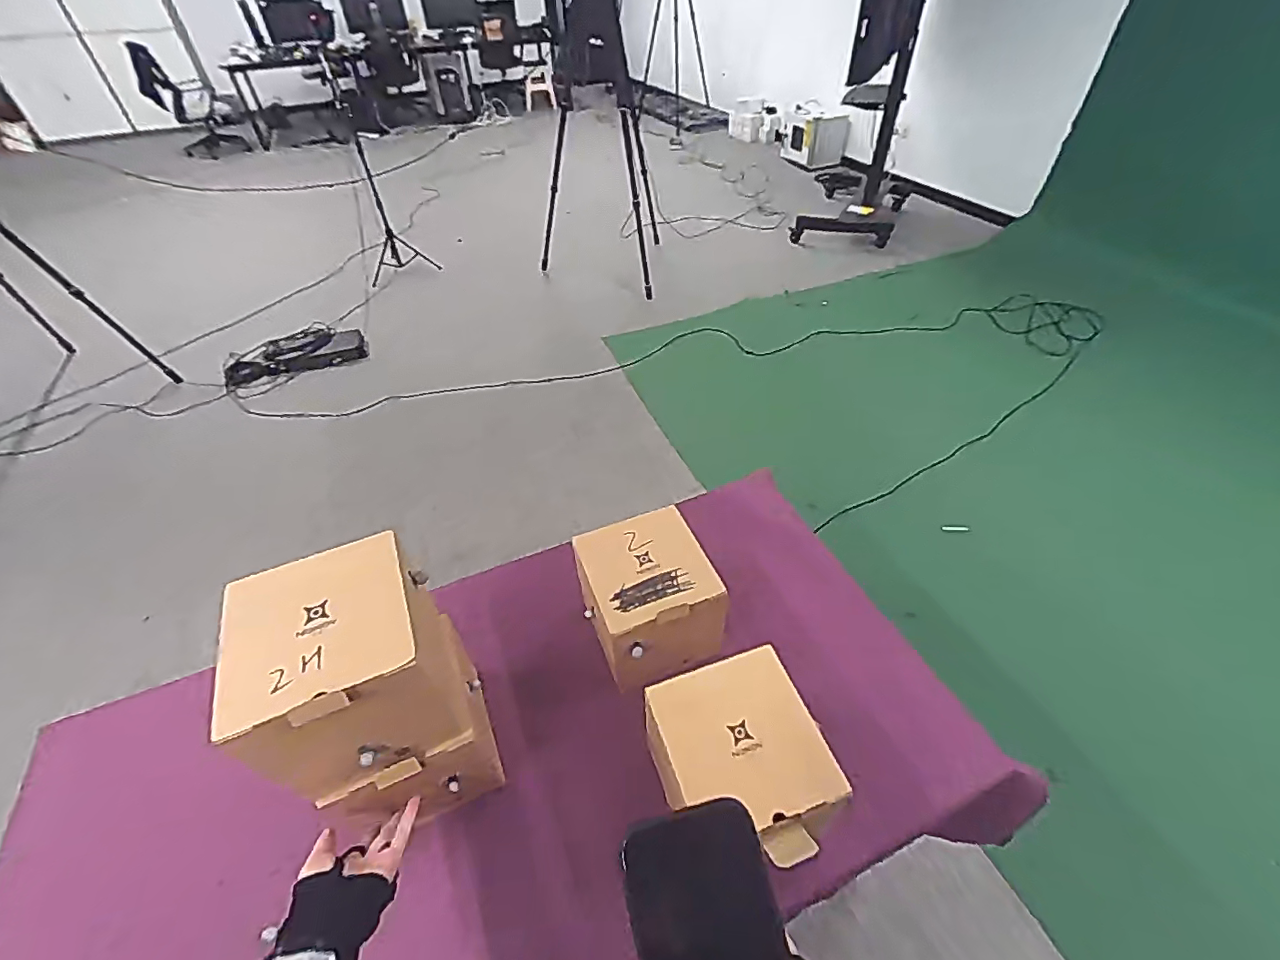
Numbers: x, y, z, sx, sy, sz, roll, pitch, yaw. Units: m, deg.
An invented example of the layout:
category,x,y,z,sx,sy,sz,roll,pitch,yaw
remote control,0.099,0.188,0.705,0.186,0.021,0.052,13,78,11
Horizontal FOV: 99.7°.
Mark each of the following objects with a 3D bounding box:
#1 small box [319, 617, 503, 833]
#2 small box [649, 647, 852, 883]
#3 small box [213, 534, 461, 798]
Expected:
category,x,y,z,sx,sy,sz,roll,pitch,yaw
small box,-0.285,0.314,0.685,0.168,0.176,0.179,-19,46,-16
small box,0.113,0.335,0.640,0.168,0.176,0.179,-15,47,-12
small box,-0.305,0.194,0.573,0.168,0.176,0.179,-19,47,-16
